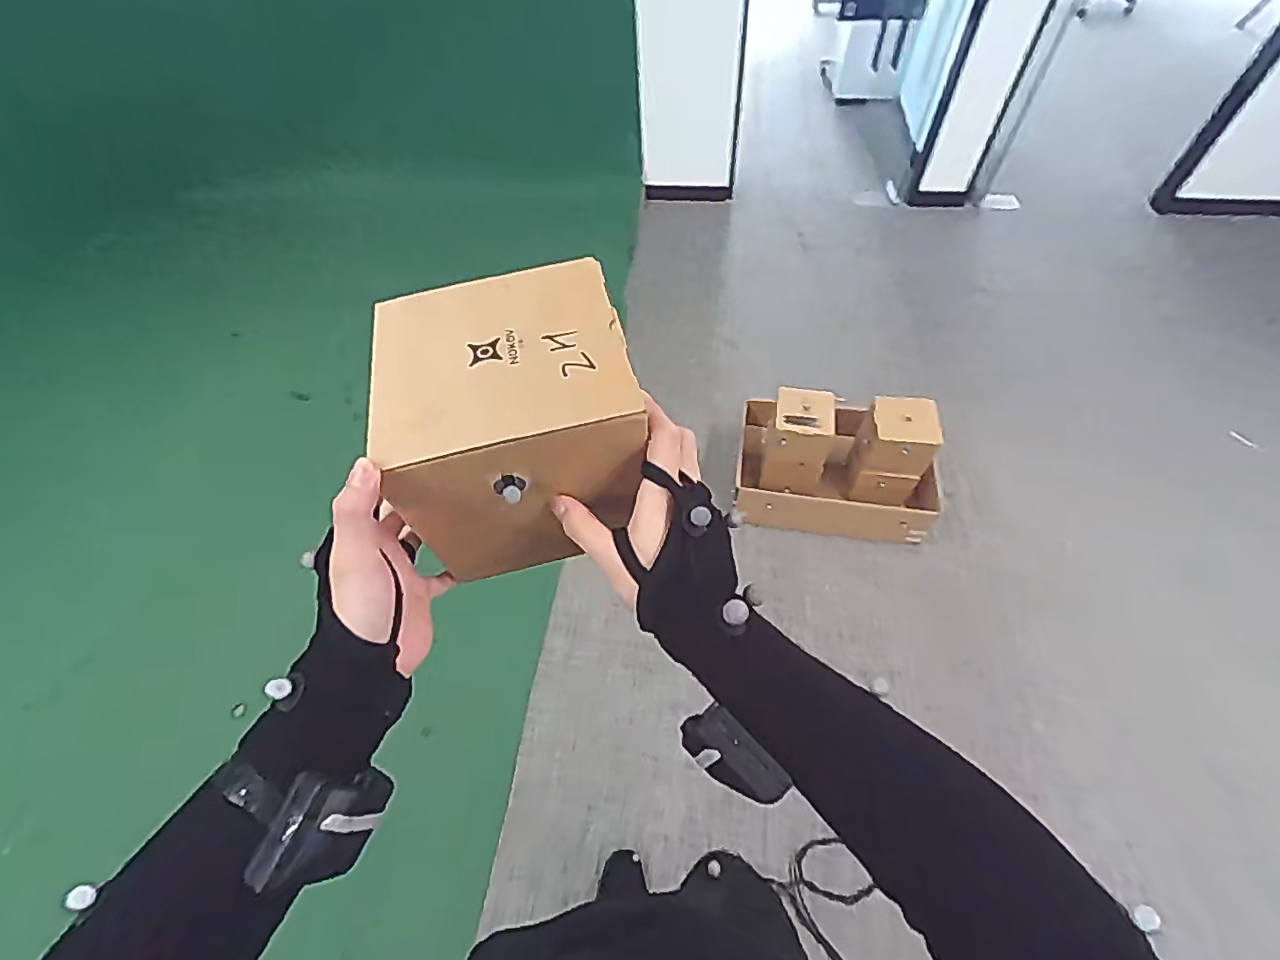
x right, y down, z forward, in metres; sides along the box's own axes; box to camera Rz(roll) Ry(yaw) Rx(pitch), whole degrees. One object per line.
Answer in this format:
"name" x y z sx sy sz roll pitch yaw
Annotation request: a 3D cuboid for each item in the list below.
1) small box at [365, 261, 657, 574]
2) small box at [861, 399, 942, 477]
"small box" -0.091 -0.042 0.437 0.179 0.176 0.168 -13 56 -4
"small box" 0.771 -0.123 1.618 0.179 0.176 0.168 5 57 7
